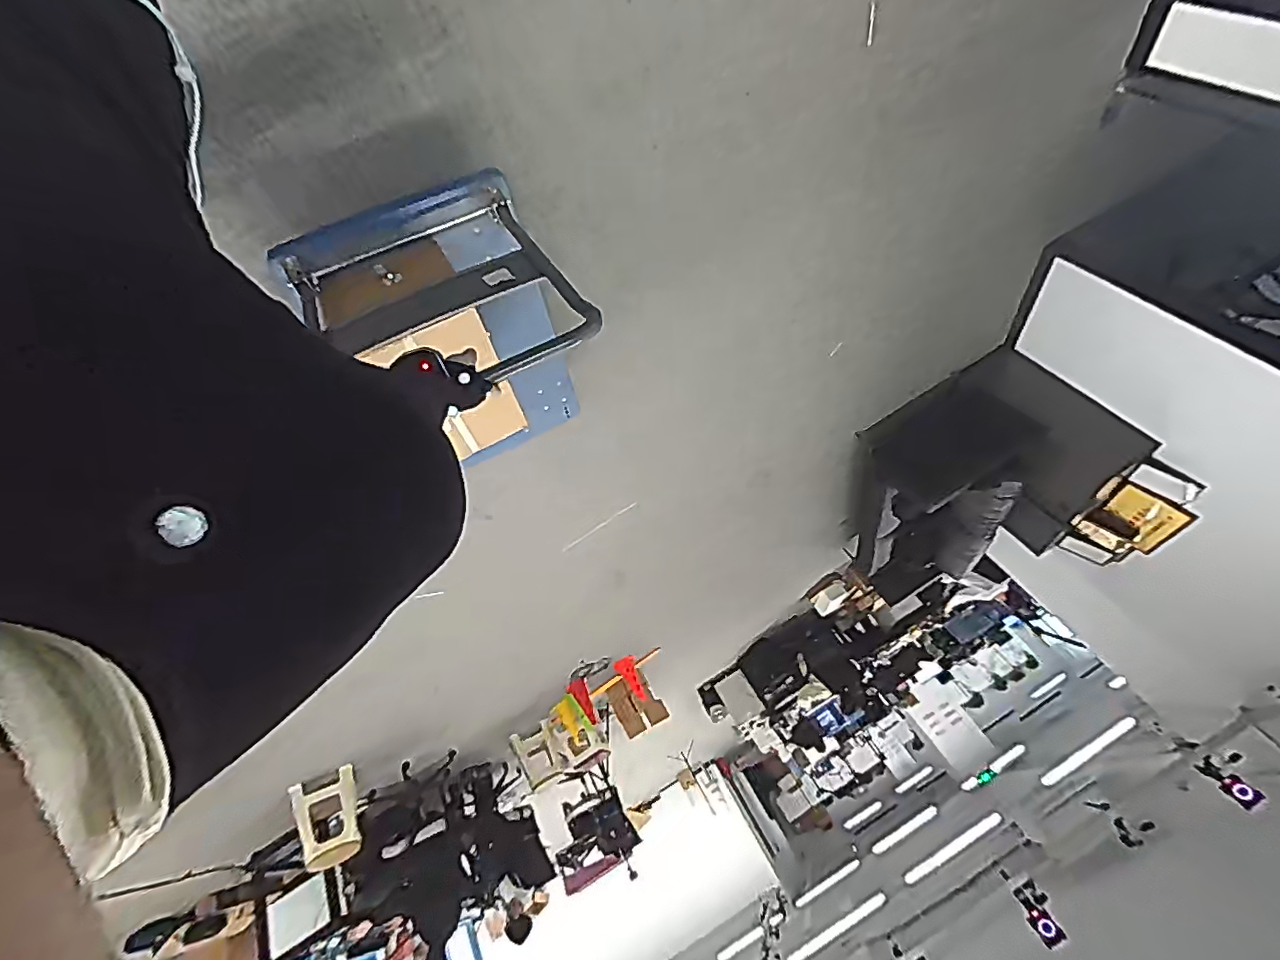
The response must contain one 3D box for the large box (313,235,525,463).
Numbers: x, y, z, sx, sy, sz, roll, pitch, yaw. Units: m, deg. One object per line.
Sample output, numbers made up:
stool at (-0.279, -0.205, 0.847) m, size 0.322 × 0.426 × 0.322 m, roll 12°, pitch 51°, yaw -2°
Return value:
large box at (-0.544, -0.324, 1.378) m, size 0.320 × 0.320 × 0.408 m, roll -27°, pitch 147°, yaw -10°
